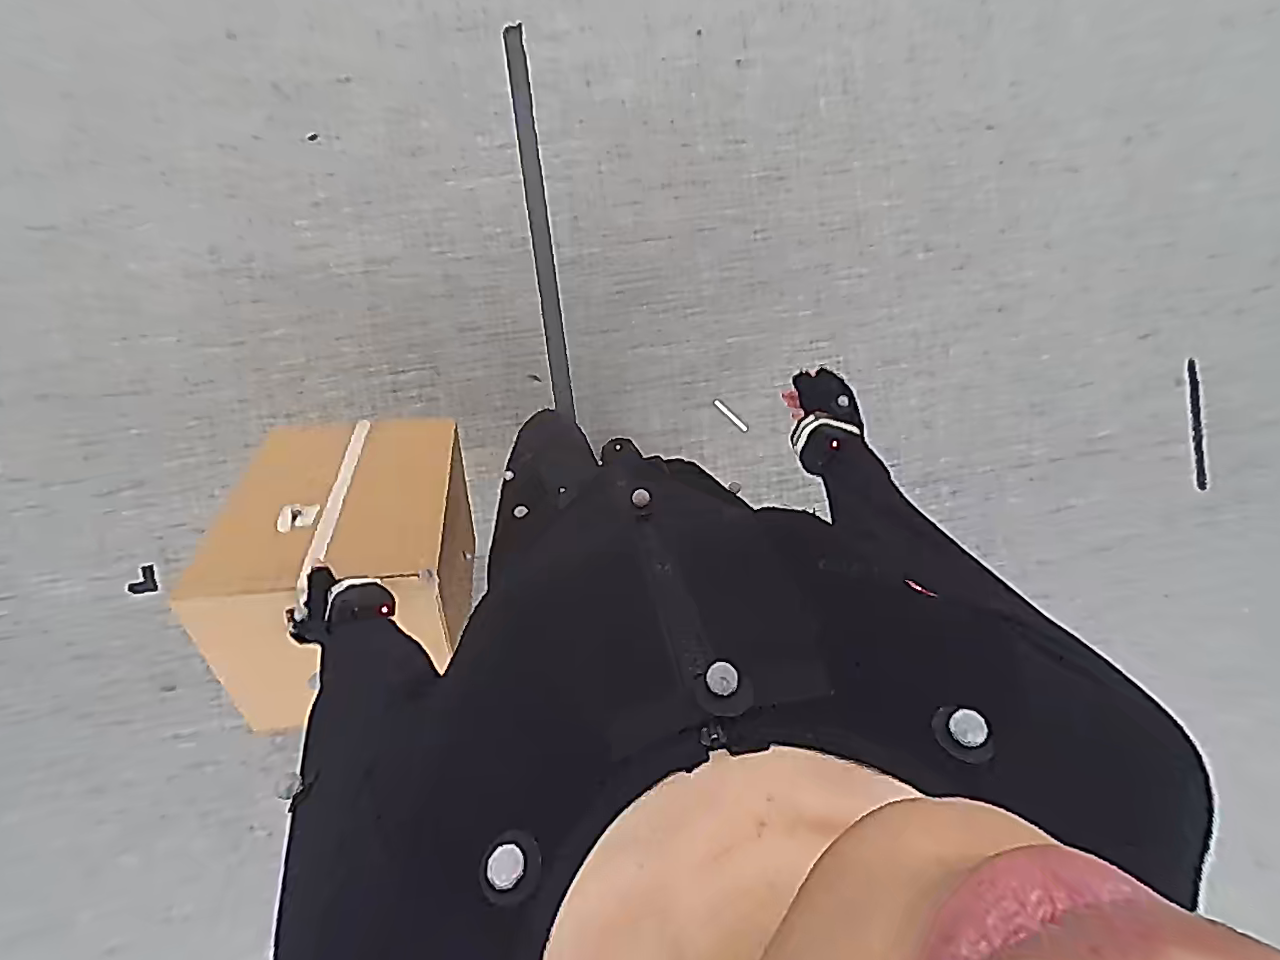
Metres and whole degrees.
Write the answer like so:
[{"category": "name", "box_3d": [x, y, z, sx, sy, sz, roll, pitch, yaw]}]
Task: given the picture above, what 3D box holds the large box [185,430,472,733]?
[{"category": "large box", "box_3d": [-0.469, 0.150, 0.938, 0.320, 0.408, 0.320, -6, 127, -11]}]
